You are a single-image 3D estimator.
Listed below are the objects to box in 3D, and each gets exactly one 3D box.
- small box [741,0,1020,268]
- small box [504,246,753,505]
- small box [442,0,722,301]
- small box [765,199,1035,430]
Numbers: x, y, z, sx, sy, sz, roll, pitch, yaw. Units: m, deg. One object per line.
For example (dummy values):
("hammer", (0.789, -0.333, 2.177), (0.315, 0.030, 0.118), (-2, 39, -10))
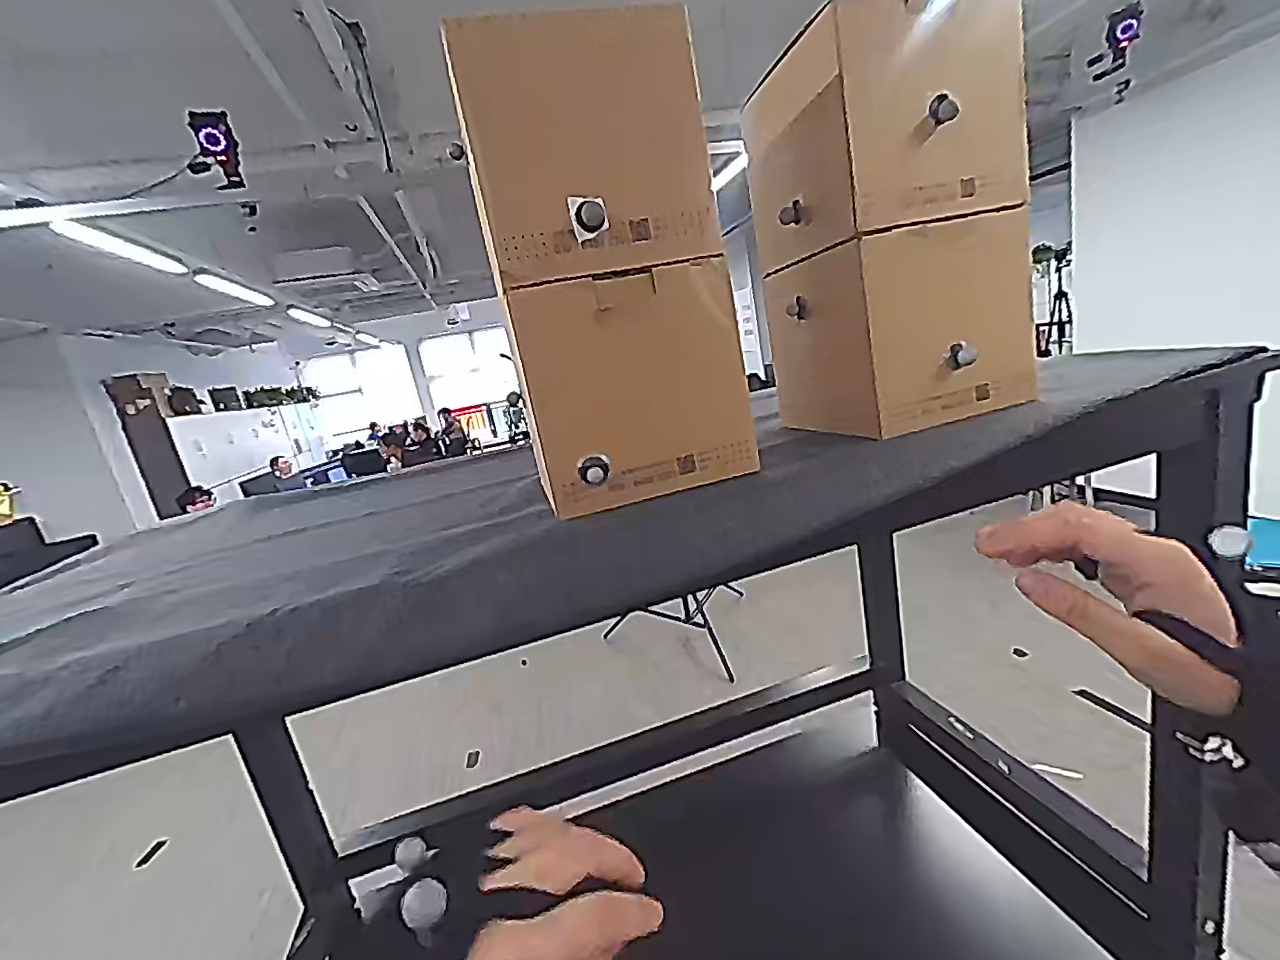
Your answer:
("small box", (0.213, -0.306, 0.497), (0.168, 0.176, 0.179), (-14, 13, -10))
("small box", (-0.017, -0.083, 0.473), (0.168, 0.176, 0.179), (-14, 11, -12))
("small box", (-0.048, -0.240, 0.443), (0.168, 0.176, 0.179), (-15, 13, -11))
("small box", (0.244, -0.149, 0.531), (0.168, 0.176, 0.179), (-15, 13, -11))
